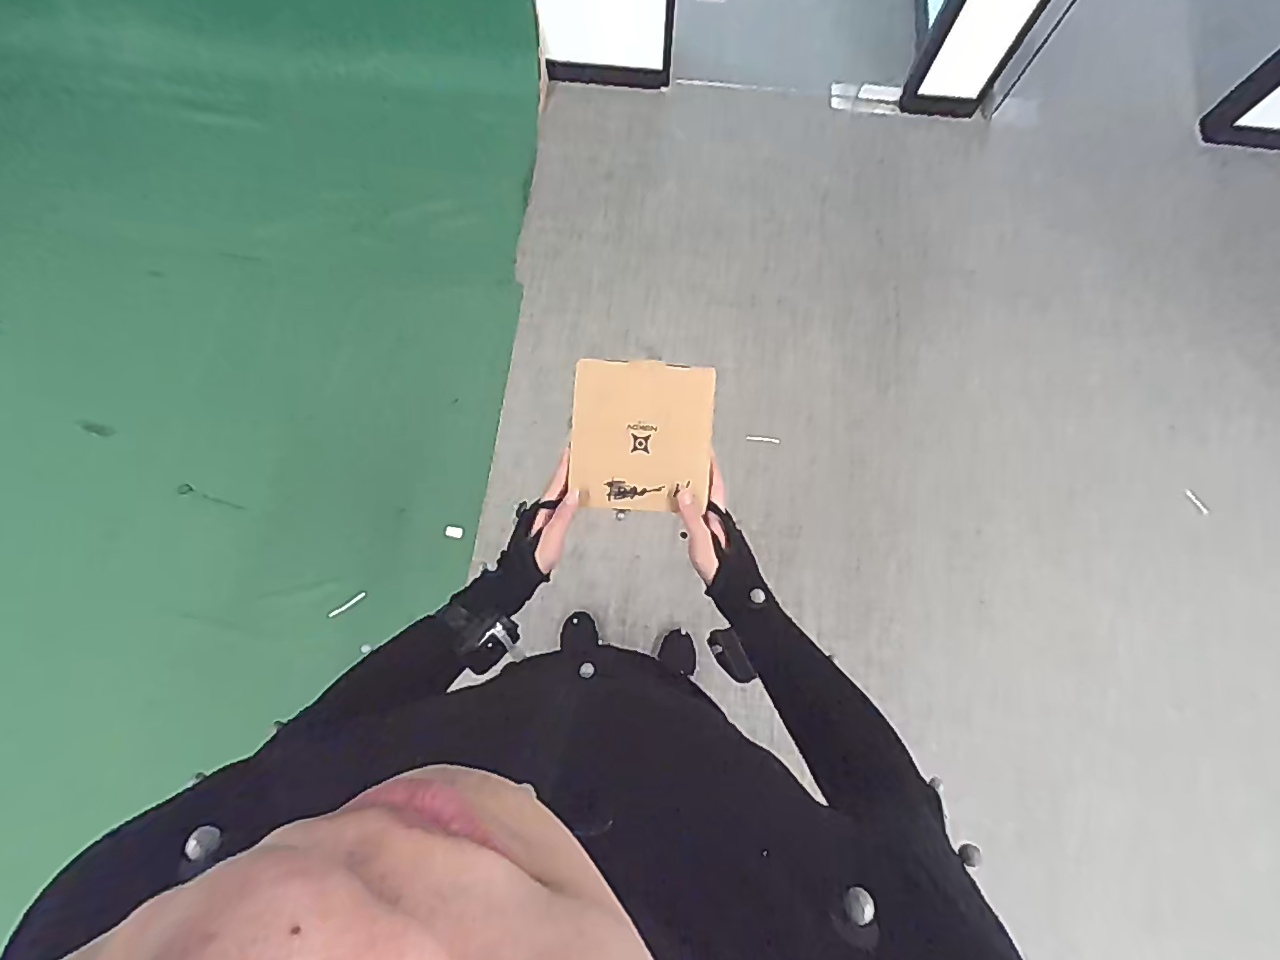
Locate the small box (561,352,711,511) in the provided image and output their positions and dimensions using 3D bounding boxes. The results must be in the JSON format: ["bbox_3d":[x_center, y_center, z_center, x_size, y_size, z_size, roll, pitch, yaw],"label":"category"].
[{"bbox_3d":[-0.007,-0.056,0.714,0.168,0.176,0.179,5,89,-1],"label":"small box"}]
